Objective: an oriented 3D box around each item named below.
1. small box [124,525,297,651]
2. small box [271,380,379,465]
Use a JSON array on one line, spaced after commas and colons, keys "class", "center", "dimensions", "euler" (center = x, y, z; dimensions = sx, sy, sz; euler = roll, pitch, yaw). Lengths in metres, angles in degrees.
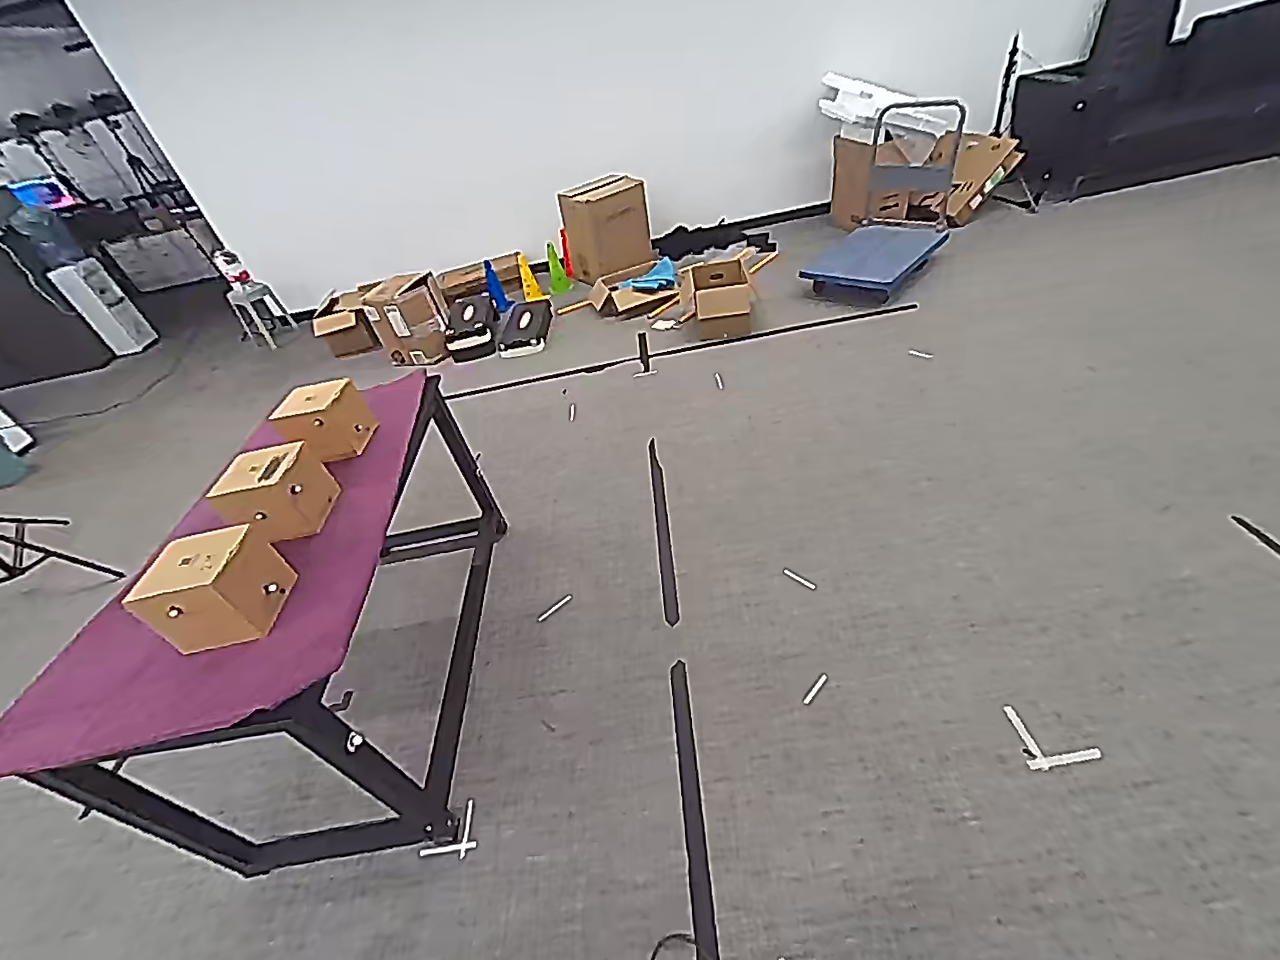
[{"class": "small box", "center": [-0.844, 0.220, 1.085], "dimensions": [0.179, 0.176, 0.168], "euler": [-12, 39, 1]}, {"class": "small box", "center": [-0.894, -0.160, 1.550], "dimensions": [0.179, 0.176, 0.168], "euler": [-9, 40, 6]}]
